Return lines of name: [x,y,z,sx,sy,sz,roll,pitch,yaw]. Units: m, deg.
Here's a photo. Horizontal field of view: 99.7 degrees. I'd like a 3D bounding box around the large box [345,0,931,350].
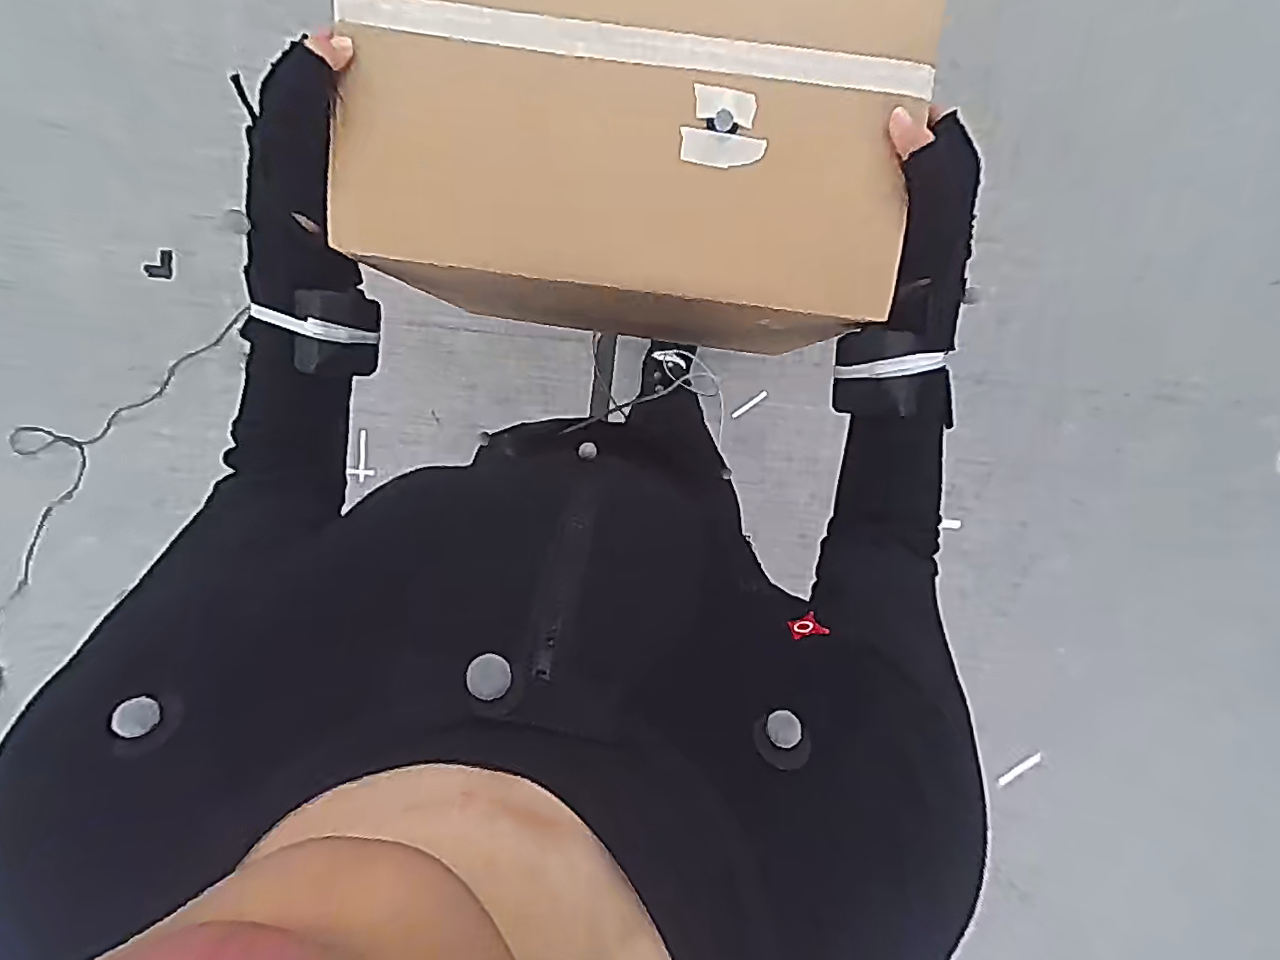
large box: [-0.006,-0.315,0.526,0.408,0.320,0.320,7,100,-1]
